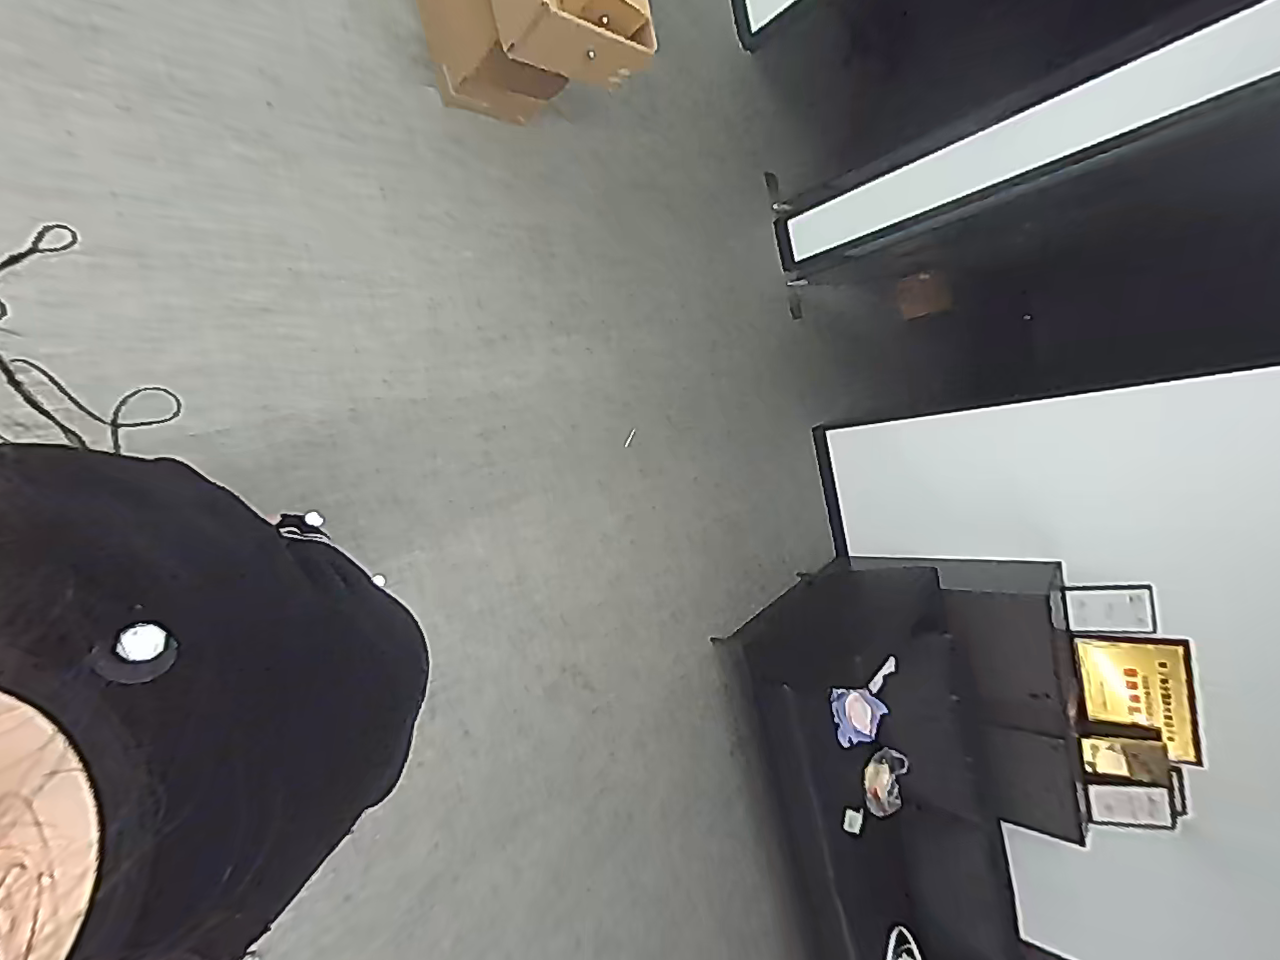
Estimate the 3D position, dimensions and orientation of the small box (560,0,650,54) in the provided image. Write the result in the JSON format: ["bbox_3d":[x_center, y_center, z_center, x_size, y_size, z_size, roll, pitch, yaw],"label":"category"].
[{"bbox_3d":[-0.102,-1.274,1.418,0.179,0.176,0.168,-11,94,-43],"label":"small box"}]
